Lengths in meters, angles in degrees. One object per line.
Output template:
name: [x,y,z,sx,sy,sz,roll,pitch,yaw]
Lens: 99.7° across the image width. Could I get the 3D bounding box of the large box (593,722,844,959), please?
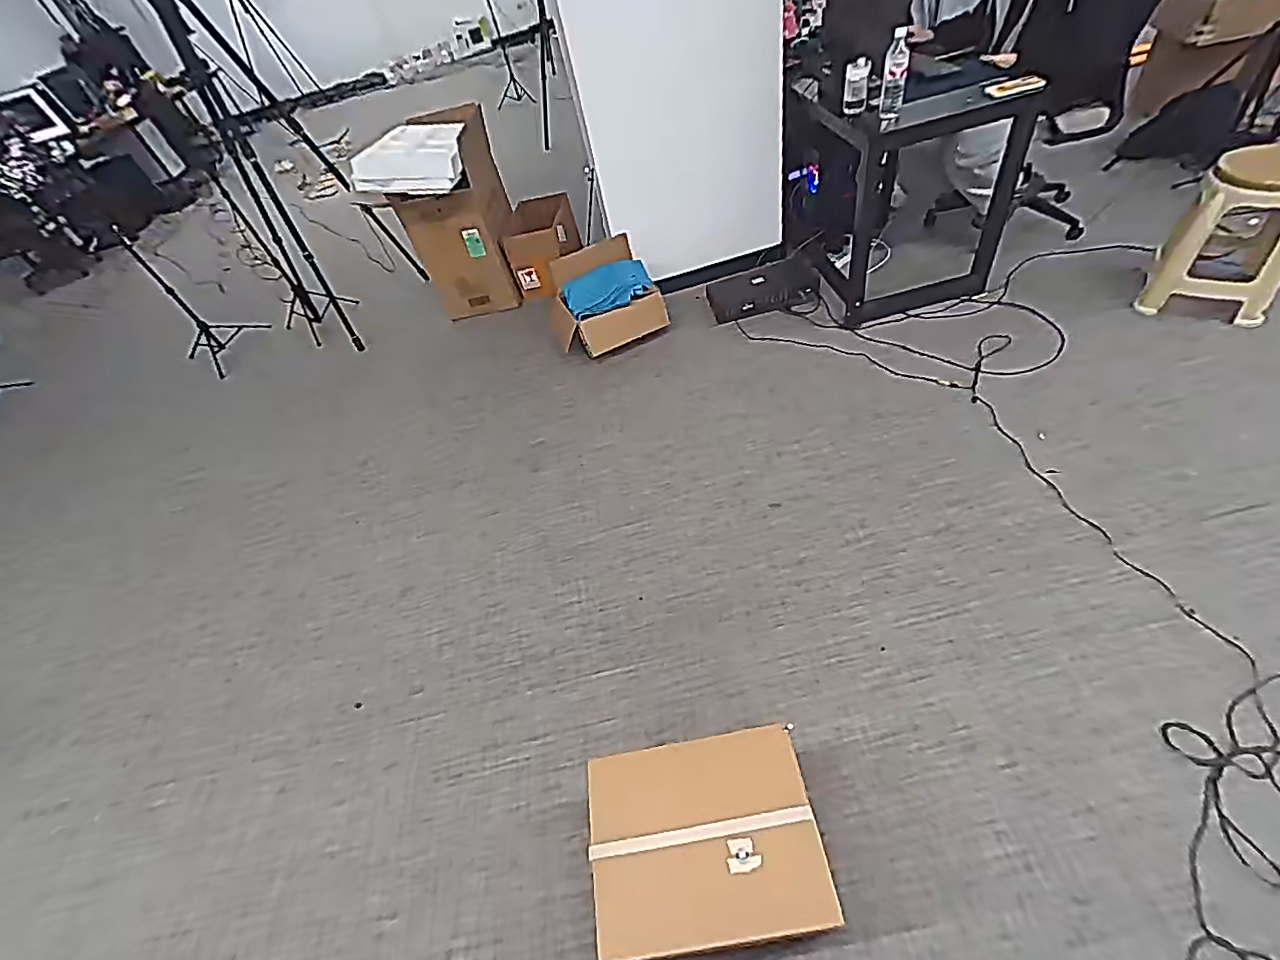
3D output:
large box: [0.143,0.729,1.081,0.408,0.320,0.320,-12,48,3]
